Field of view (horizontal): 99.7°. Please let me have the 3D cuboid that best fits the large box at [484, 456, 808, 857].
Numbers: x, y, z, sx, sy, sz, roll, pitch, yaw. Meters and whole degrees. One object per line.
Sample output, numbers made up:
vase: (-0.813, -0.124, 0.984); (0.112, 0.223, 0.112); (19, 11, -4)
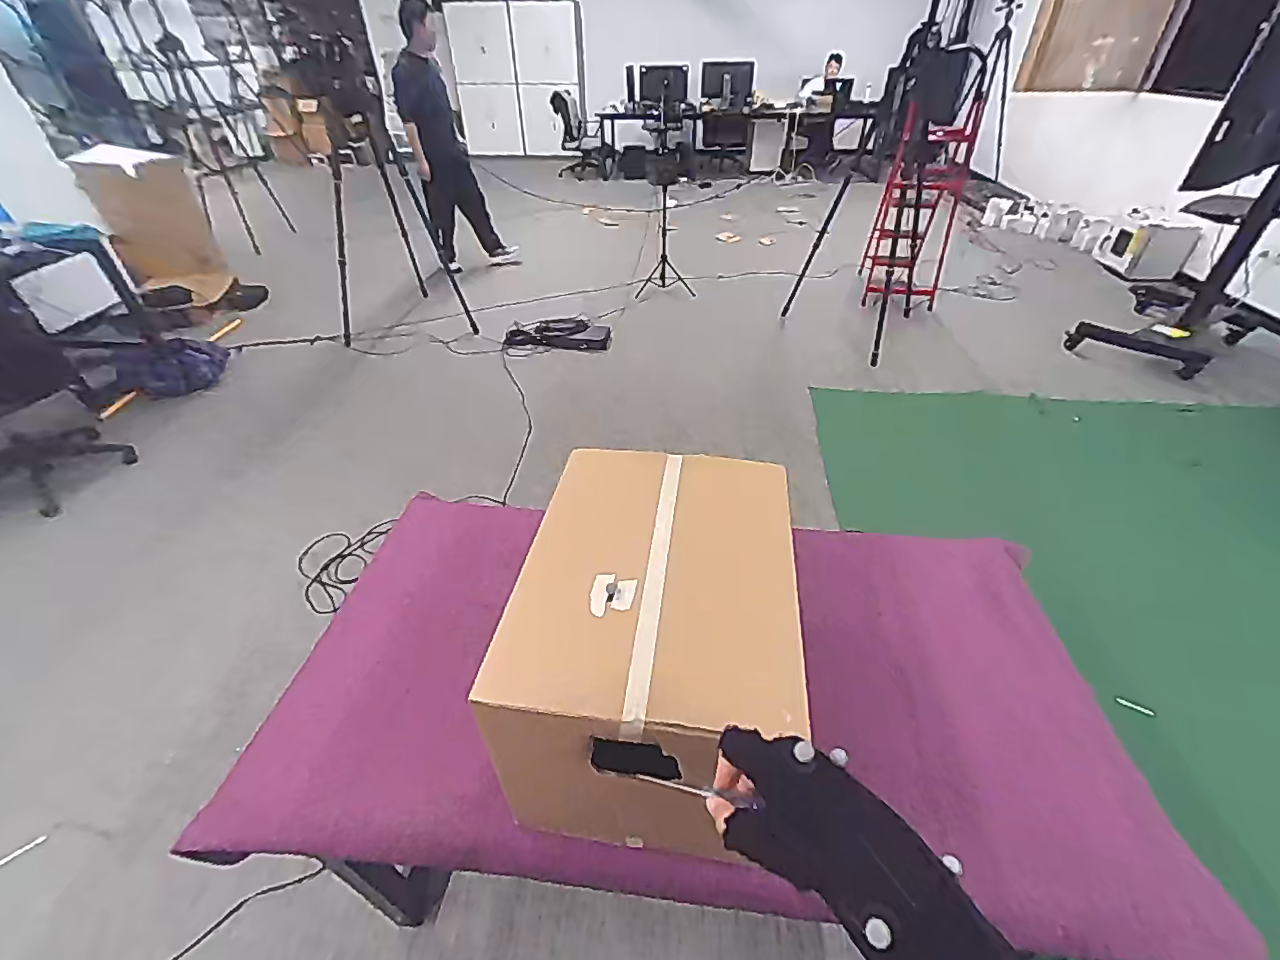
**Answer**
large box: (0.024, 0.218, 0.743); (0.320, 0.320, 0.408); (5, 40, 7)
